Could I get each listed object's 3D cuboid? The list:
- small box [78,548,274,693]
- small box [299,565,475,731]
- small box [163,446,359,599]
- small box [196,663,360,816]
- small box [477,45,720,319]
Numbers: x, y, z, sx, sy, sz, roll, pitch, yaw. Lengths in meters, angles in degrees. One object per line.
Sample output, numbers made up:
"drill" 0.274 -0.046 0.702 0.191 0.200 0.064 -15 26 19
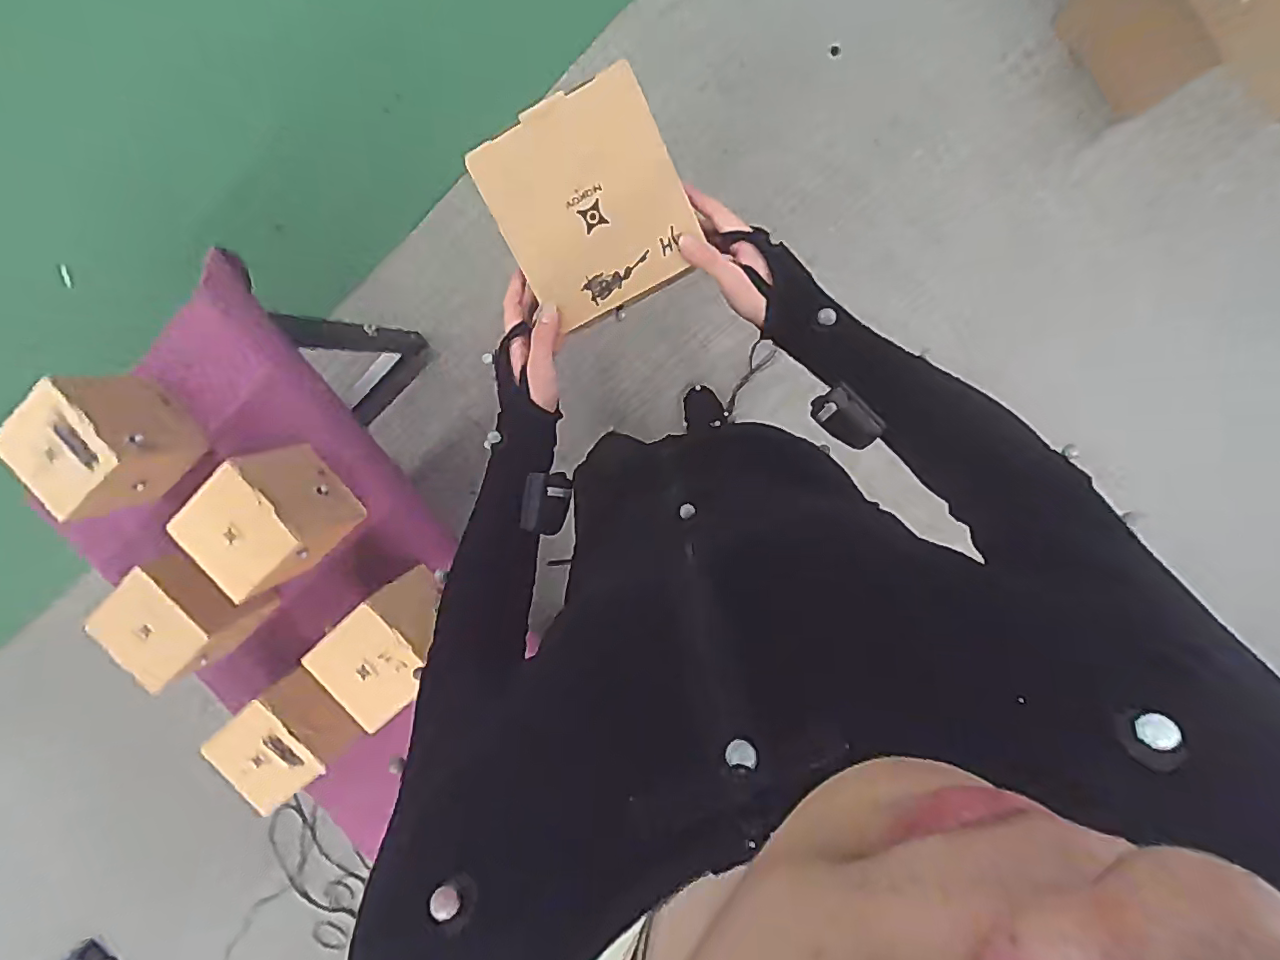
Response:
"small box" -0.816 0.234 0.970 0.179 0.176 0.168 -41 95 12
"small box" -0.420 0.278 0.926 0.179 0.176 0.168 -40 94 14
"small box" -0.623 0.063 0.911 0.179 0.176 0.168 -40 94 13
"small box" -0.635 0.453 0.990 0.179 0.176 0.168 -40 94 13
"small box" -0.034 -0.279 0.556 0.168 0.176 0.179 -24 105 9
